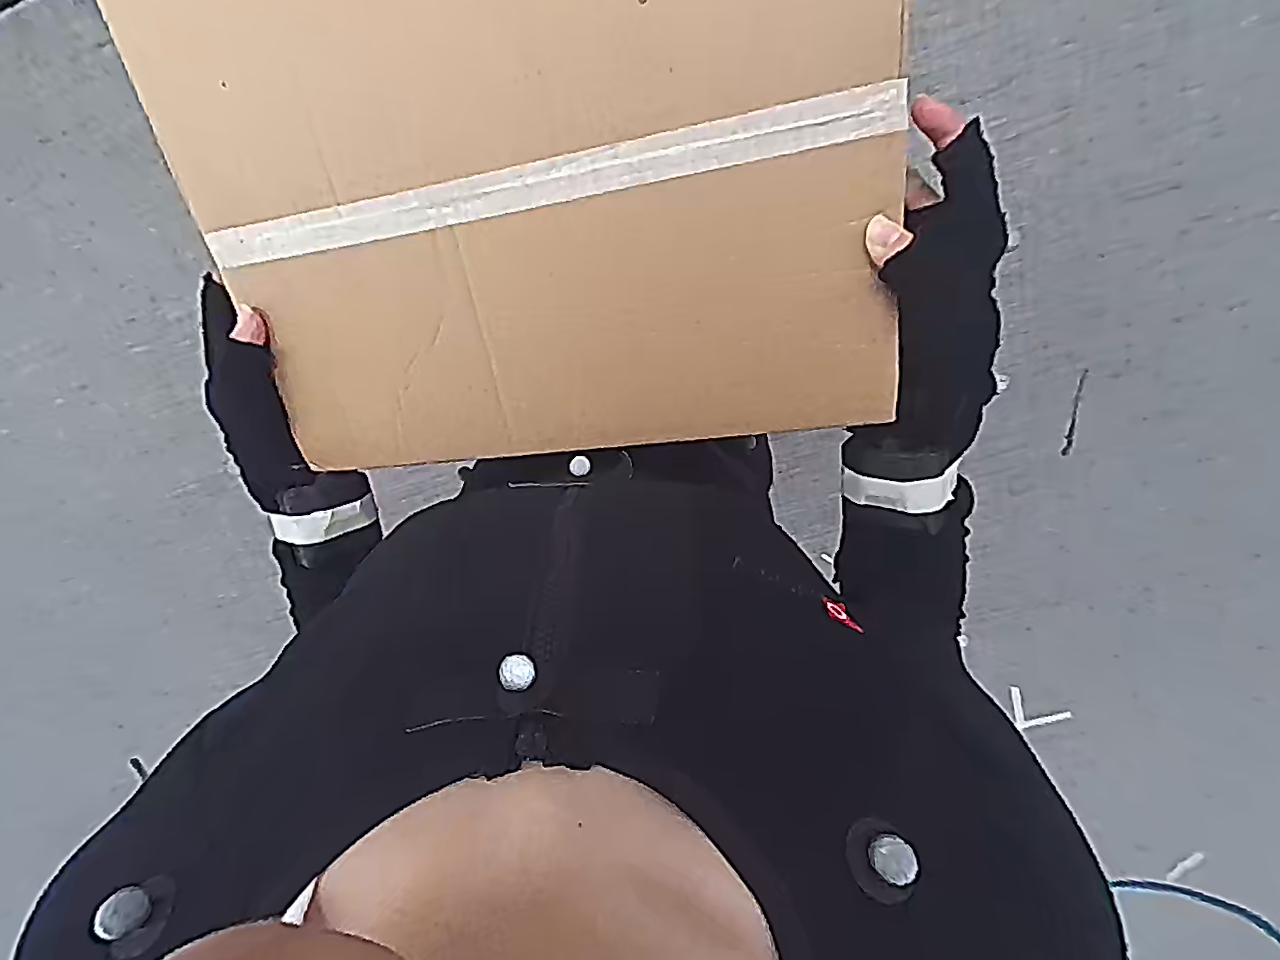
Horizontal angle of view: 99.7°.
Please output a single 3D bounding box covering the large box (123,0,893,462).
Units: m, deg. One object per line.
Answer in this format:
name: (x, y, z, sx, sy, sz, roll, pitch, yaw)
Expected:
large box: (-0.044, -0.232, 0.436, 0.408, 0.320, 0.320, -4, 114, 13)
